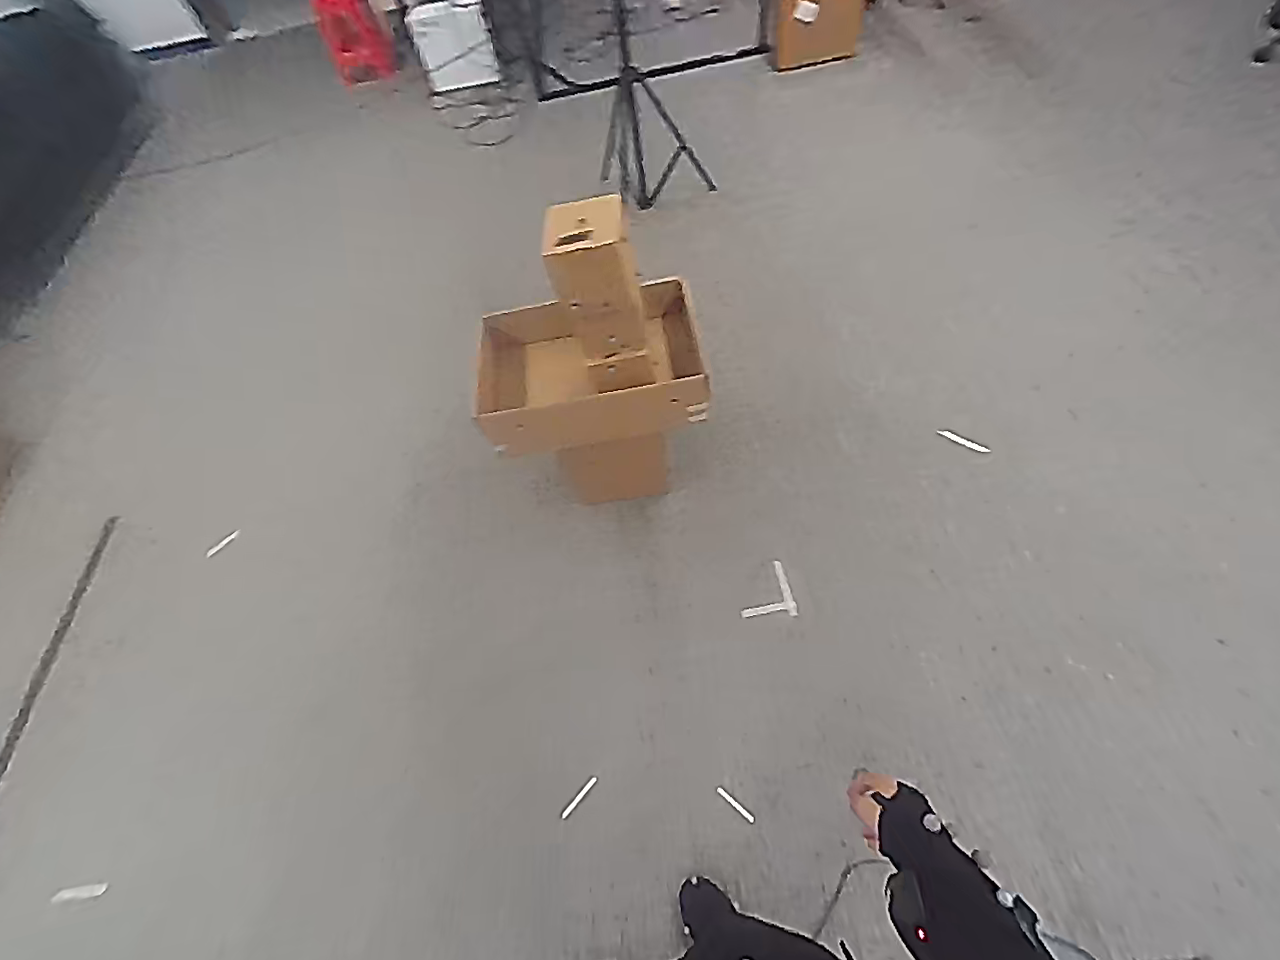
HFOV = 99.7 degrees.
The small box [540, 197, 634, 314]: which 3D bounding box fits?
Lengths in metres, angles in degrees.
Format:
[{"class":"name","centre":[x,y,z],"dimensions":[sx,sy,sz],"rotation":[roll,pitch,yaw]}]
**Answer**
[{"class":"small box","centre":[-0.110,-0.489,1.204],"dimensions":[0.168,0.176,0.179],"rotation":[-5,58,10]}]

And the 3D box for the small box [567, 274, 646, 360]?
[{"class":"small box","centre":[-0.084,-0.432,1.360],"dimensions":[0.168,0.176,0.179],"rotation":[-10,58,7]}]
